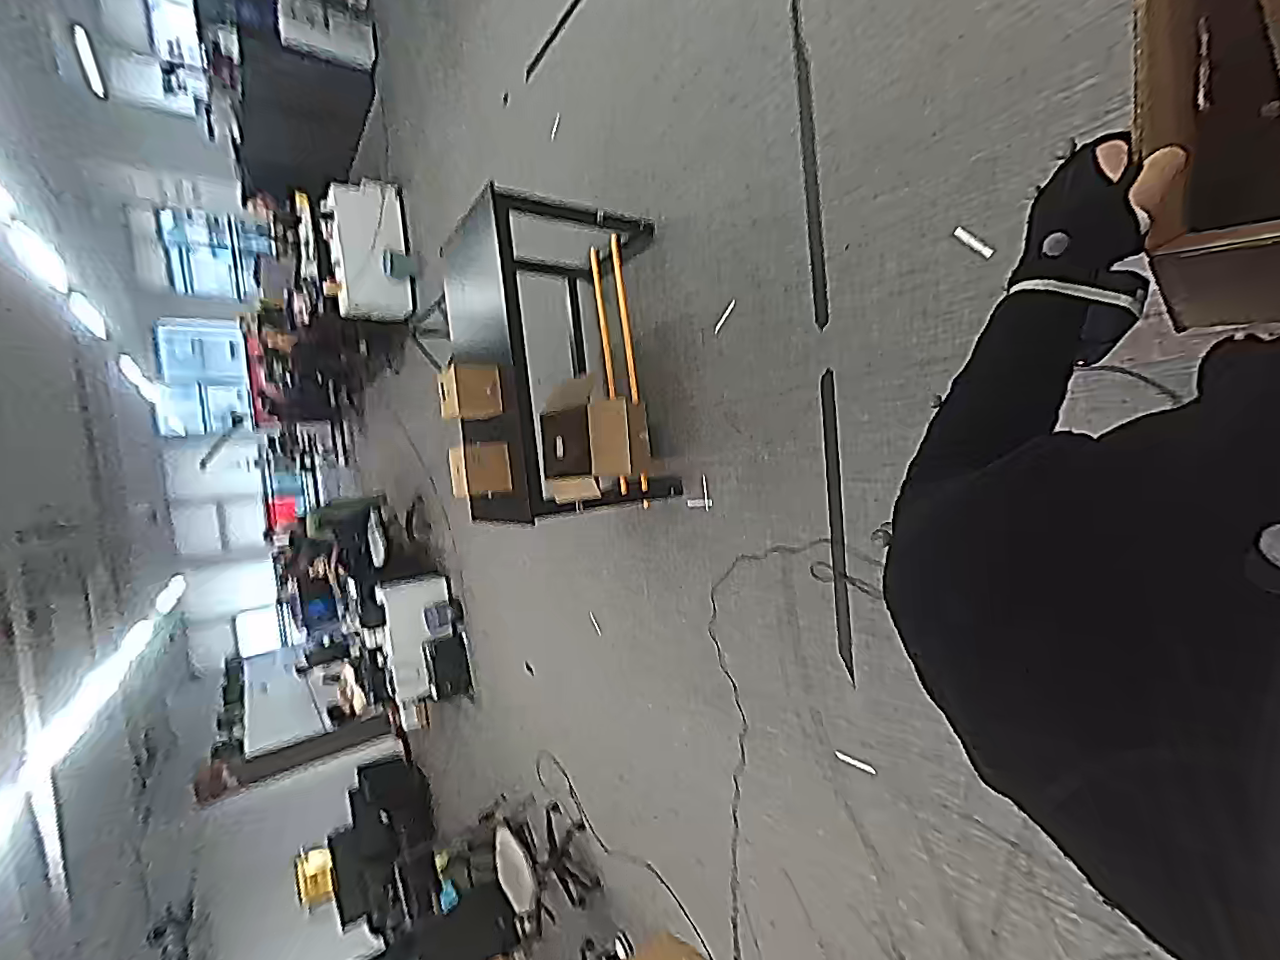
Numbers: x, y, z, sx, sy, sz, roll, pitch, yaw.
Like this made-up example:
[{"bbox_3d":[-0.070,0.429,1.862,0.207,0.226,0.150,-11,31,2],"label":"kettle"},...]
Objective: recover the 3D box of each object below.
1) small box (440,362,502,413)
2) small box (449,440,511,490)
[{"bbox_3d":[-0.627,-0.340,2.006,0.179,0.176,0.168,-2,95,53],"label":"small box"},{"bbox_3d":[-0.593,-0.057,2.010,0.168,0.176,0.179,-4,93,54],"label":"small box"}]
